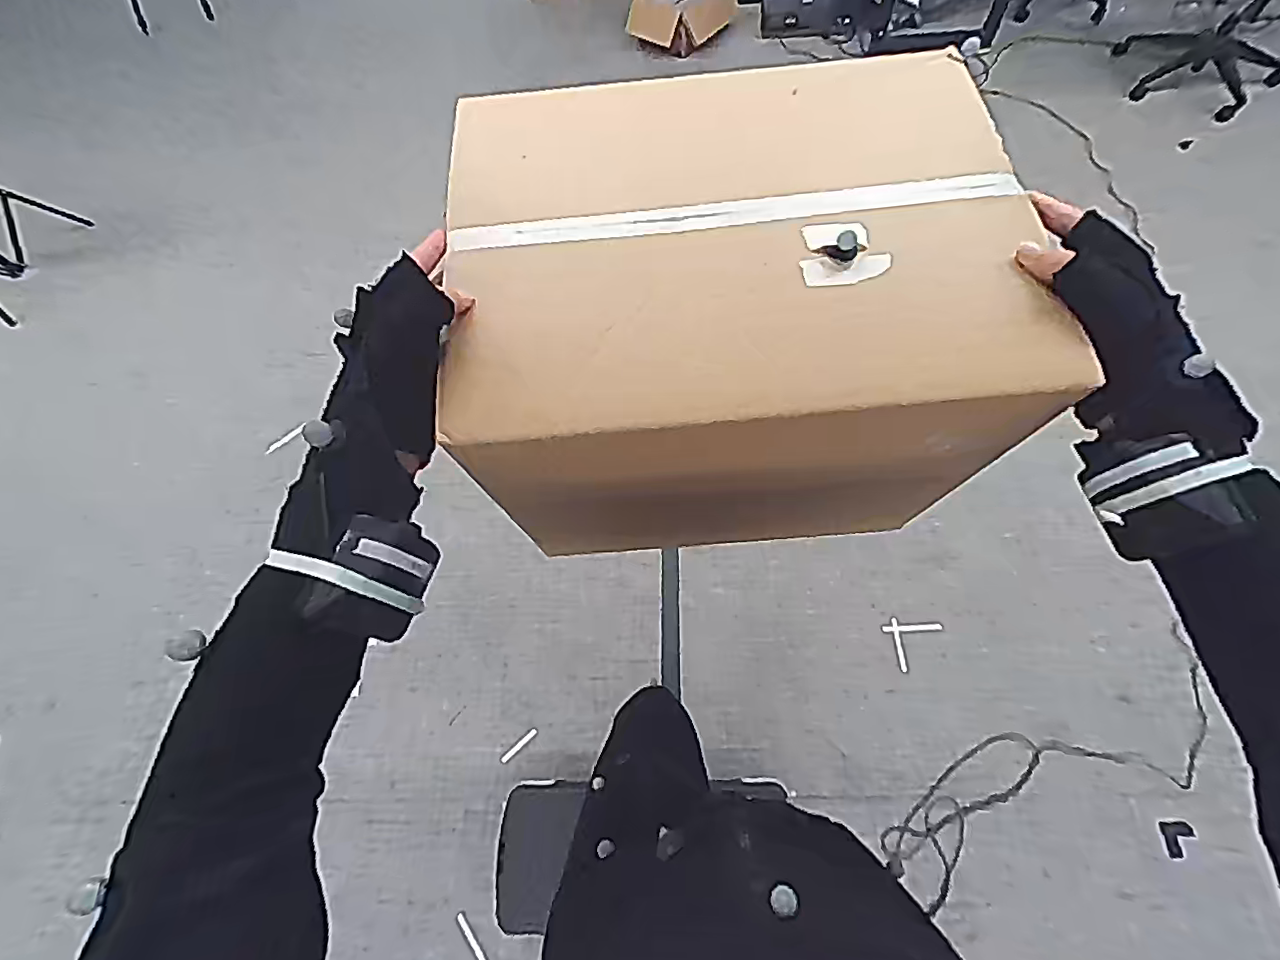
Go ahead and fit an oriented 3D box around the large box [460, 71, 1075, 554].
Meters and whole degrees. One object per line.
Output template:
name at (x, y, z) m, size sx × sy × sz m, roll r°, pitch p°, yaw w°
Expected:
large box at (0.072, -0.128, 0.534) m, size 0.408 × 0.320 × 0.320 m, roll -5°, pitch 69°, yaw 0°
